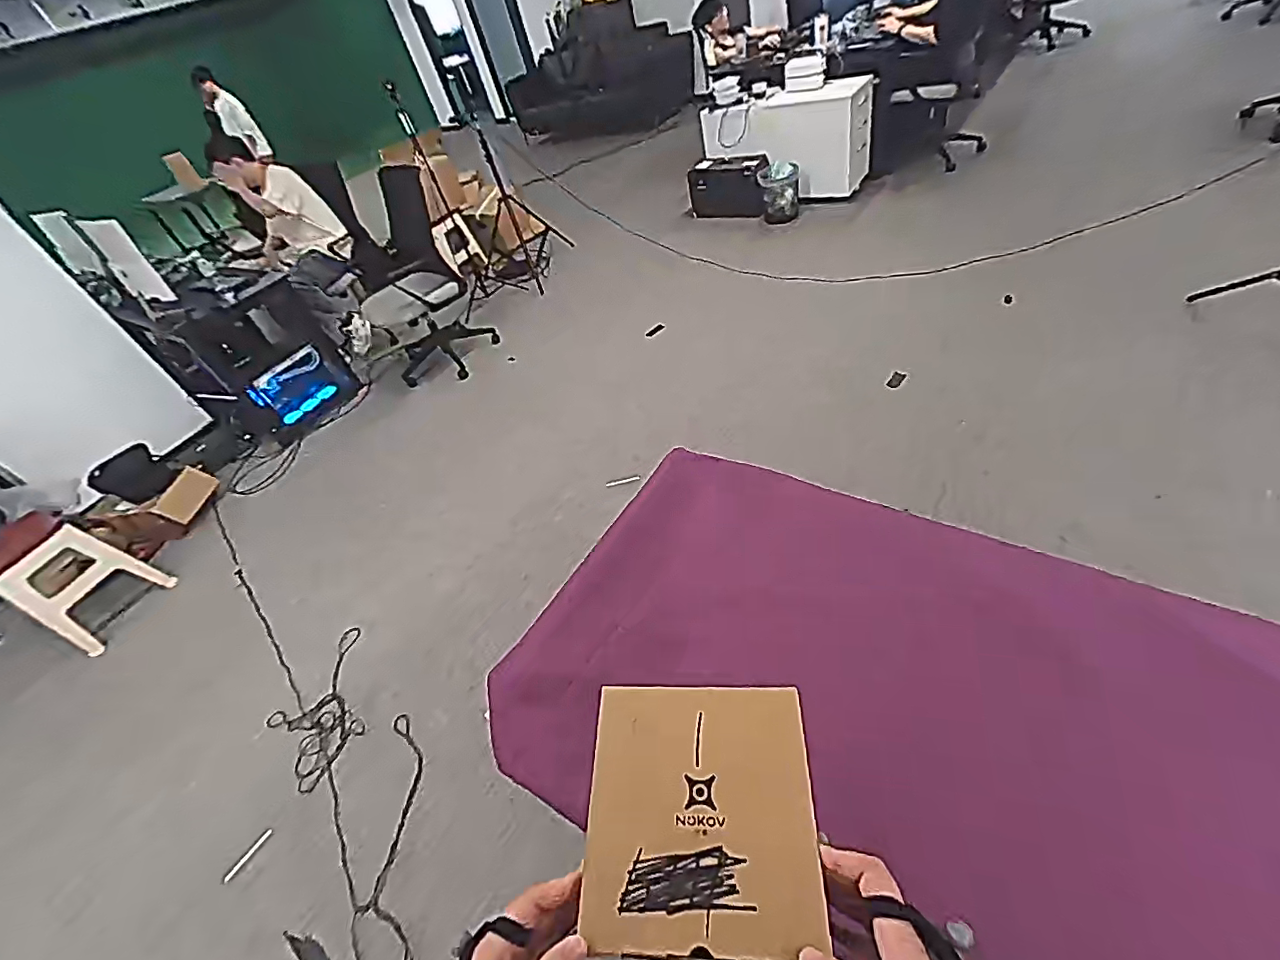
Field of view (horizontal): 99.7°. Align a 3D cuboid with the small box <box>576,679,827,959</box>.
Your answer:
[{"bbox_3d":[0.055,0.287,0.458,0.168,0.176,0.179,-2,47,8],"label":"small box"}]
